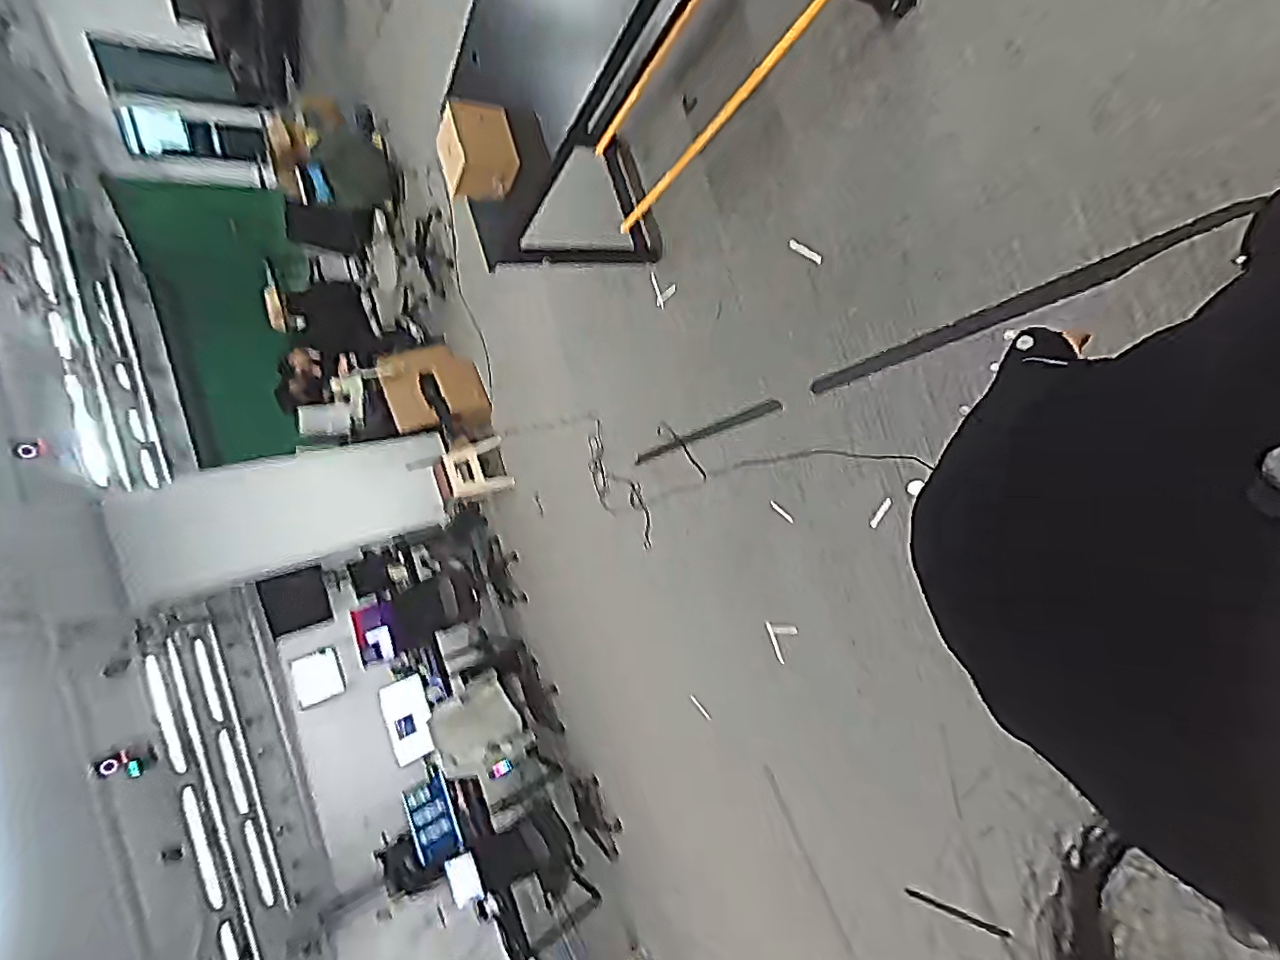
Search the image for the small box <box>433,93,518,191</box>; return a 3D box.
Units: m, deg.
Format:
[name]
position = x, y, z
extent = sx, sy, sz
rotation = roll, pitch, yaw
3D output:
[small box]
position = -0.474, -0.965, 1.562
extent = 0.168, 0.176, 0.179
rotation = -21, 86, 57
